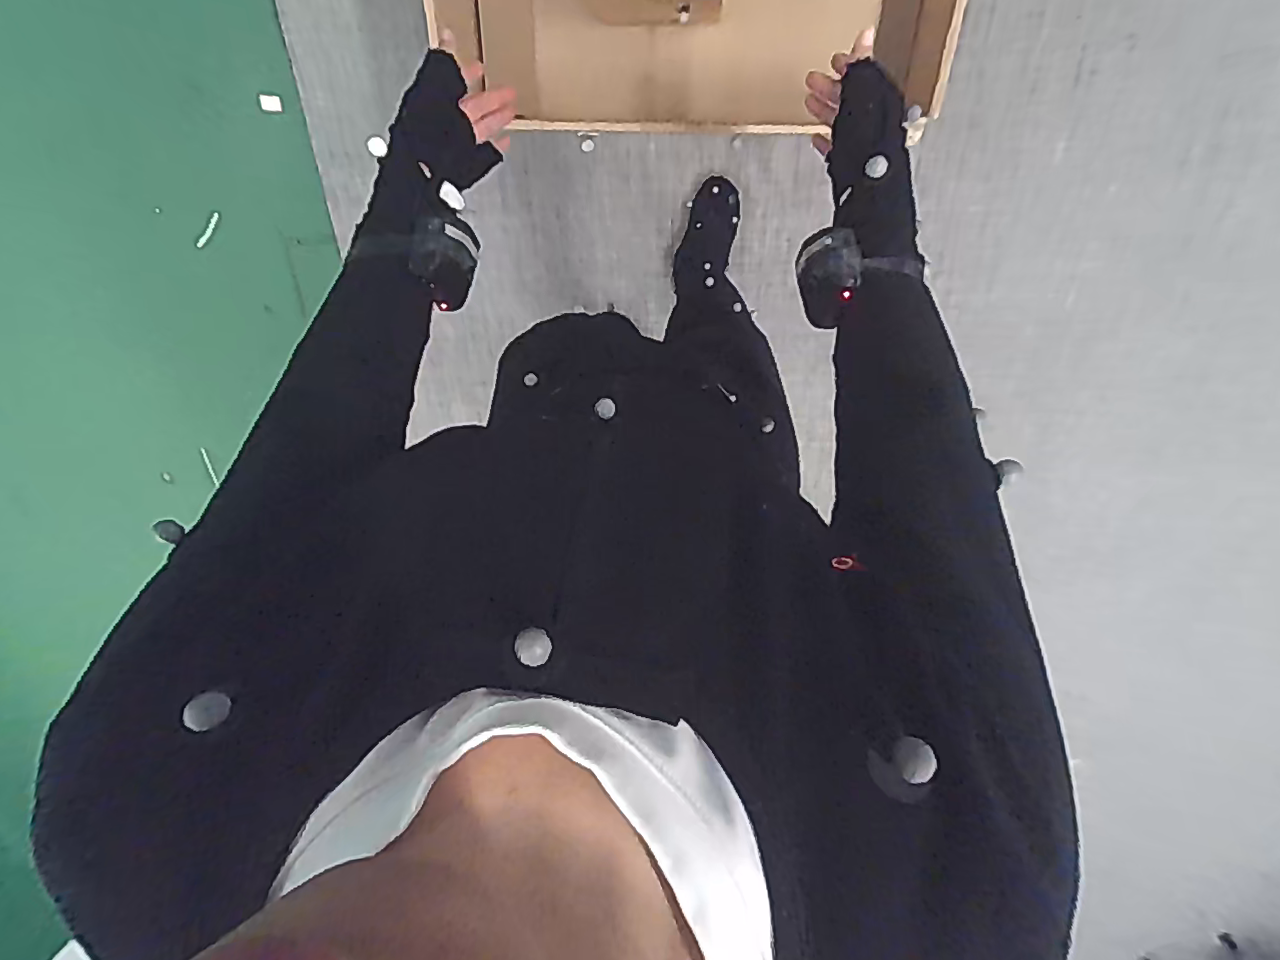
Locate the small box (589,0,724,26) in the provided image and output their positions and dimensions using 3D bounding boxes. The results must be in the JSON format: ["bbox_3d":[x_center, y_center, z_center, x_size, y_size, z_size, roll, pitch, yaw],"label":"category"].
[{"bbox_3d":[0.022,-0.651,0.621,0.168,0.176,0.179,3,118,4],"label":"small box"}]
